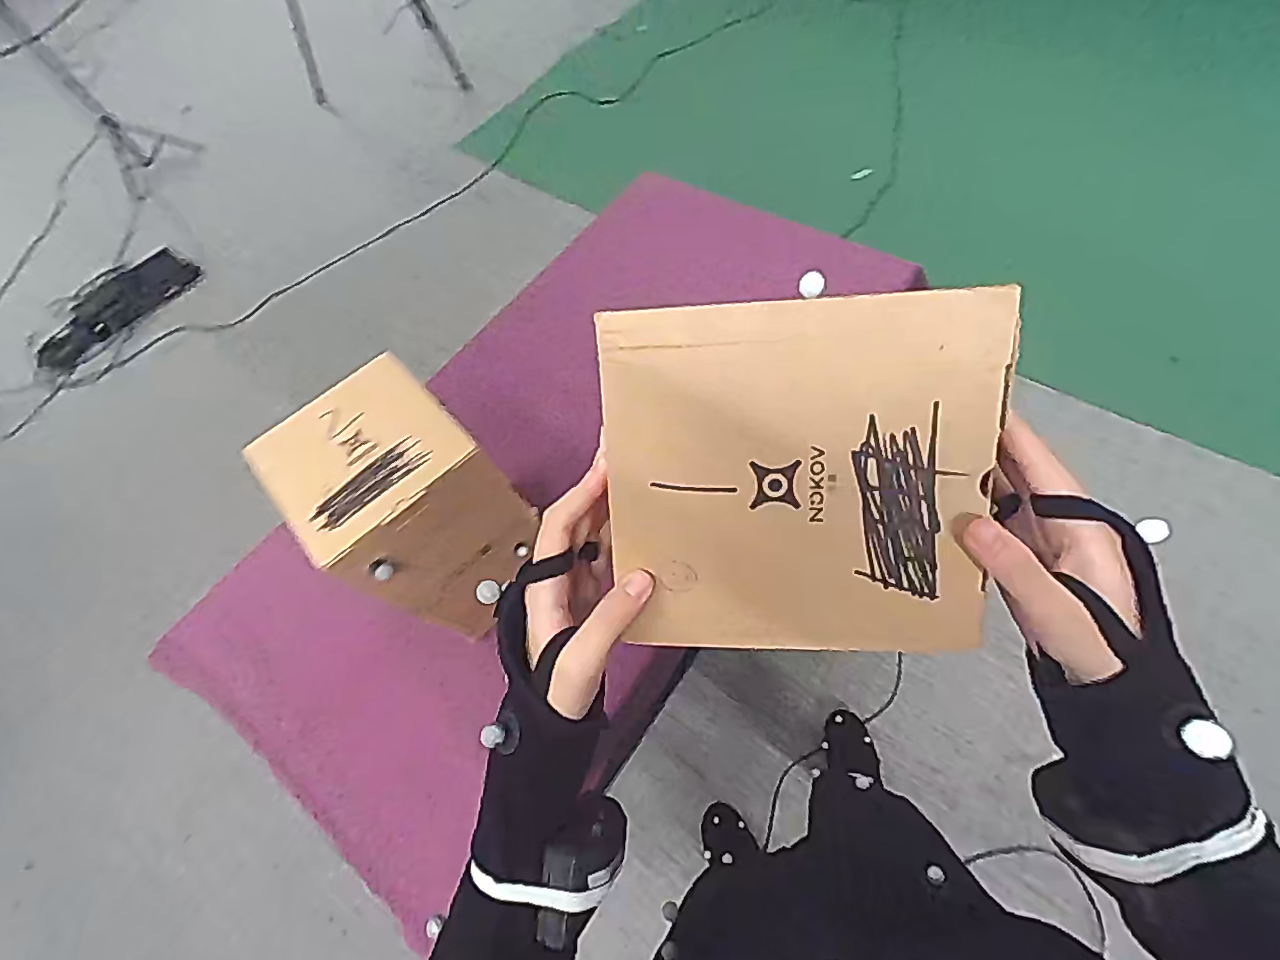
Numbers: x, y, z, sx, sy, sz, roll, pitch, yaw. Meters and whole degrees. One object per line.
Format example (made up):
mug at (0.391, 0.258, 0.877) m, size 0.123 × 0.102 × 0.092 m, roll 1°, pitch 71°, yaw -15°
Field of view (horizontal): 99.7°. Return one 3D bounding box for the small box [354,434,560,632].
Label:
small box at (-0.235, 0.079, 0.735) m, size 0.179 × 0.176 × 0.168 m, roll -41°, pitch 65°, yaw -14°

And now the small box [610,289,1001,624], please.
small box at (0.085, -0.026, 0.341) m, size 0.179 × 0.176 × 0.168 m, roll -1°, pitch 104°, yaw 9°
